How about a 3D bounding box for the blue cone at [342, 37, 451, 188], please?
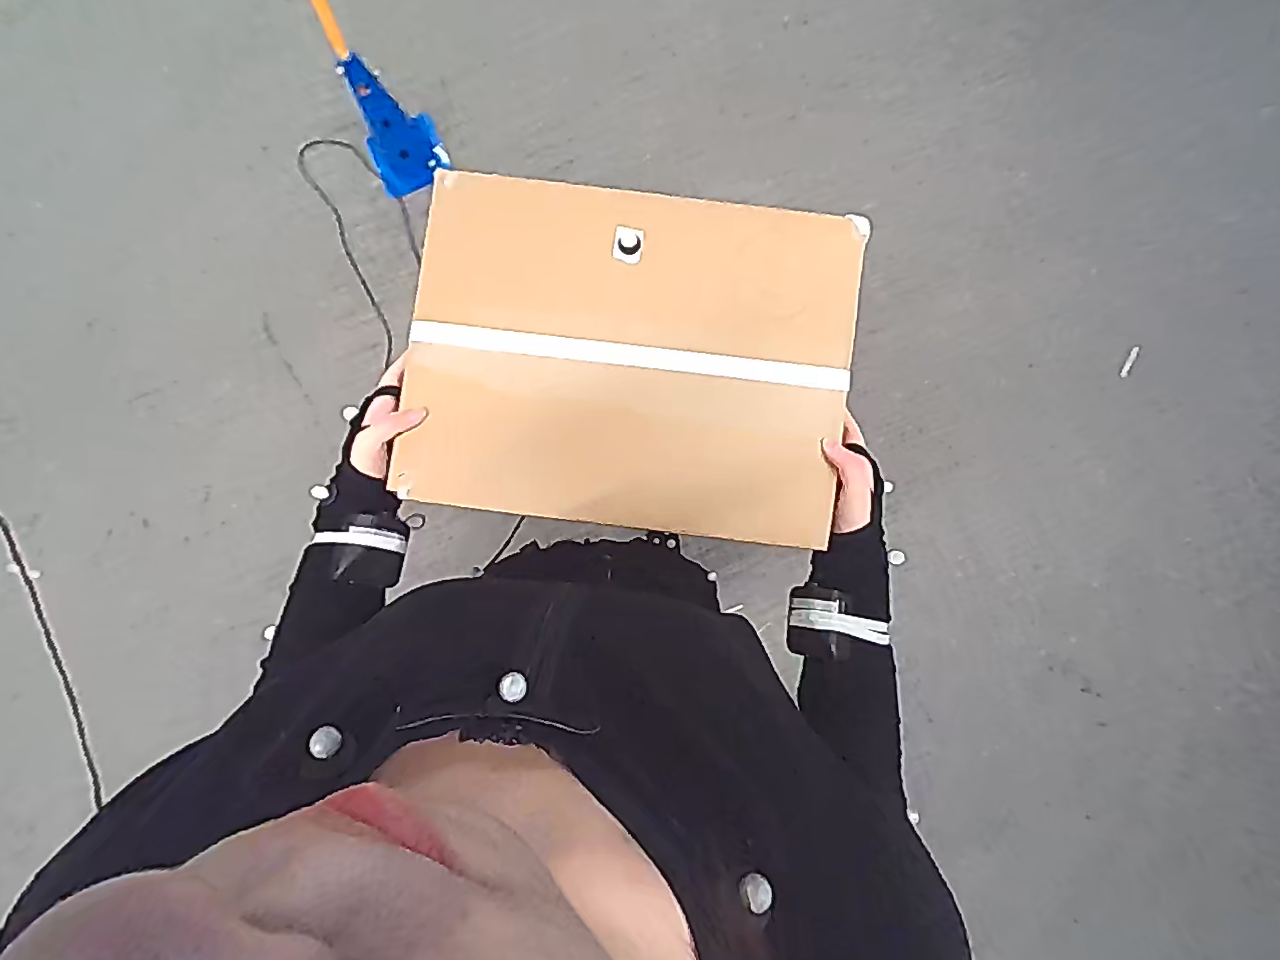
[{"bbox_3d":[-0.638,-0.937,1.346,0.193,0.380,0.192,-25,89,-3],"label":"blue cone"}]
